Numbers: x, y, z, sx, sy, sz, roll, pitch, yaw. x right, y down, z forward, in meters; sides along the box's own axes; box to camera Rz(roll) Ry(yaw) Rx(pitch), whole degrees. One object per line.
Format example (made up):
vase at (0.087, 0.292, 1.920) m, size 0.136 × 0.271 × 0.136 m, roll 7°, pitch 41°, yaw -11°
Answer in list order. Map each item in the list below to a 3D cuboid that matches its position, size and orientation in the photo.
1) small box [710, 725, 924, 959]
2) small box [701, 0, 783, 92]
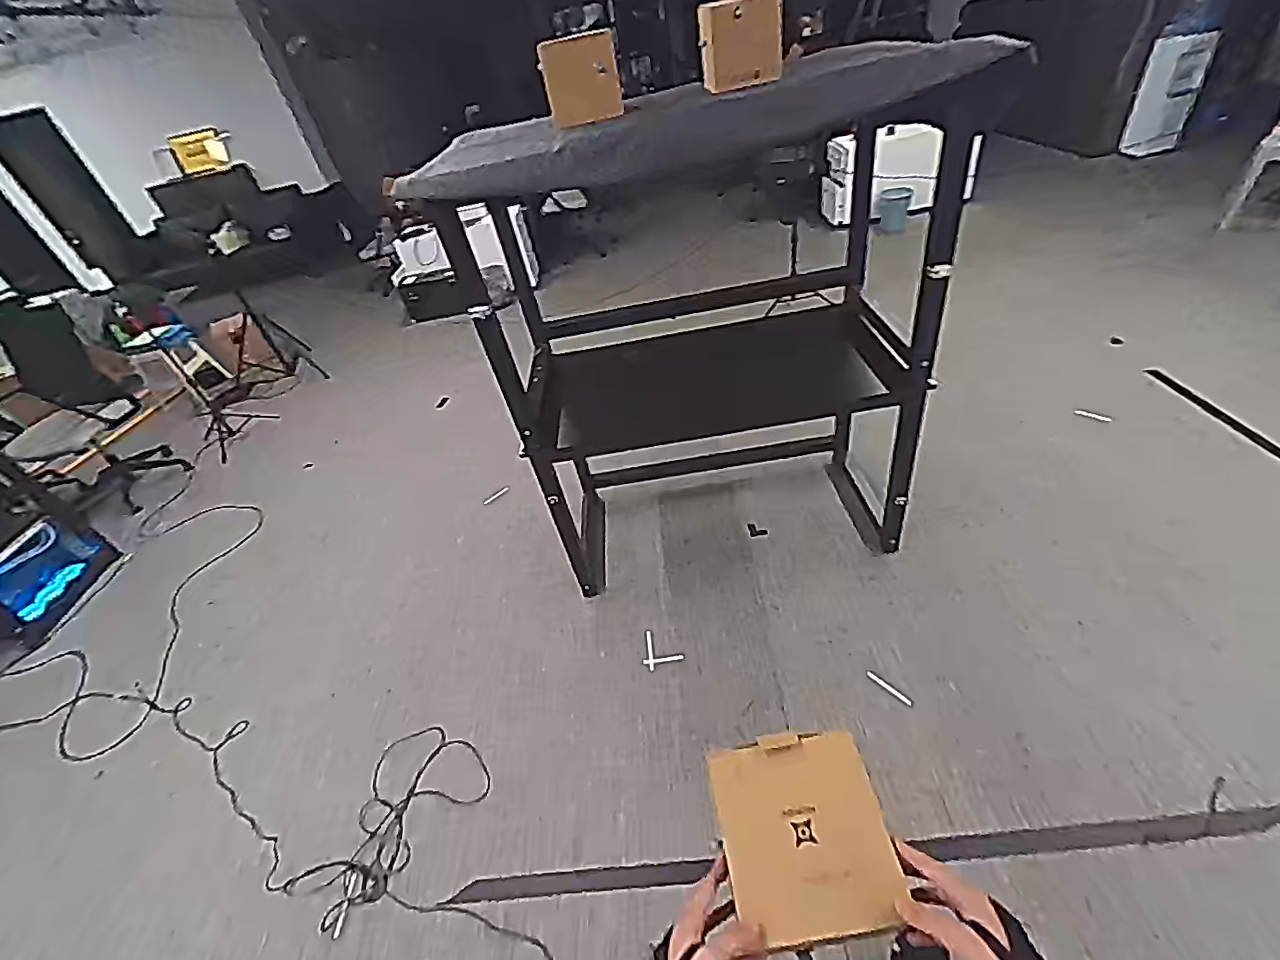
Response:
small box at (0.174, 0.402, 0.599) m, size 0.168 × 0.176 × 0.179 m, roll -10°, pitch 45°, yaw 0°
small box at (0.247, -1.066, 1.321) m, size 0.168 × 0.176 × 0.179 m, roll -10°, pitch 40°, yaw 4°
